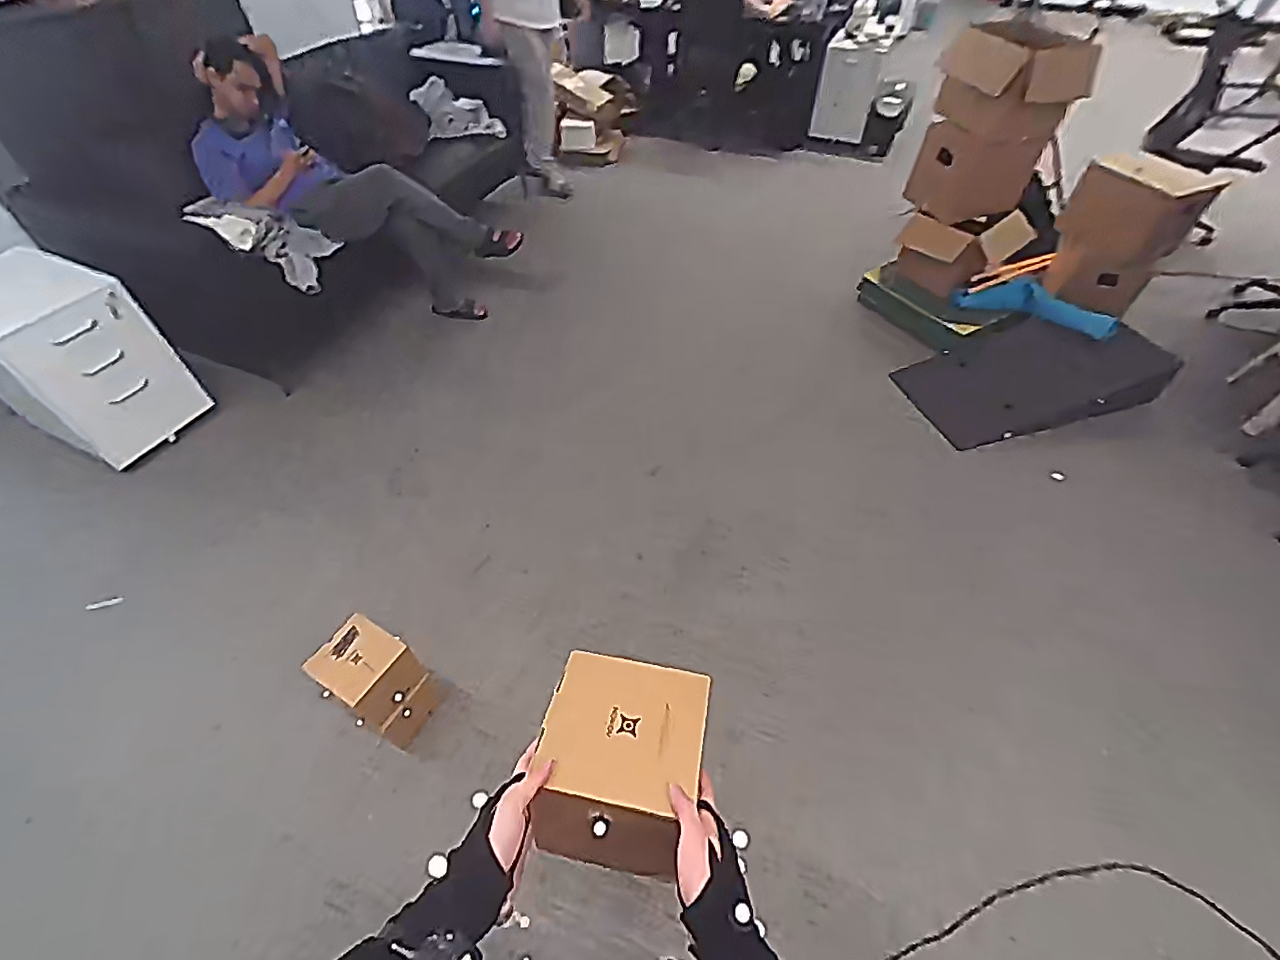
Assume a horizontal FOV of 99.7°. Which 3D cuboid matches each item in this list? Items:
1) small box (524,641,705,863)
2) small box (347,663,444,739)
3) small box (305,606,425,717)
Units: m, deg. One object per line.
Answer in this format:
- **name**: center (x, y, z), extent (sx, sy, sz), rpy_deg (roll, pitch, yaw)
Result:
- **small box**: center (-0.023, 0.324, 0.648), extent (0.179, 0.176, 0.168), rpy_deg (8, 36, 7)
- **small box**: center (-0.660, 0.561, 1.445), extent (0.179, 0.176, 0.168), rpy_deg (23, 53, 19)
- **small box**: center (-0.664, 0.448, 1.324), extent (0.179, 0.176, 0.168), rpy_deg (25, 54, 19)
